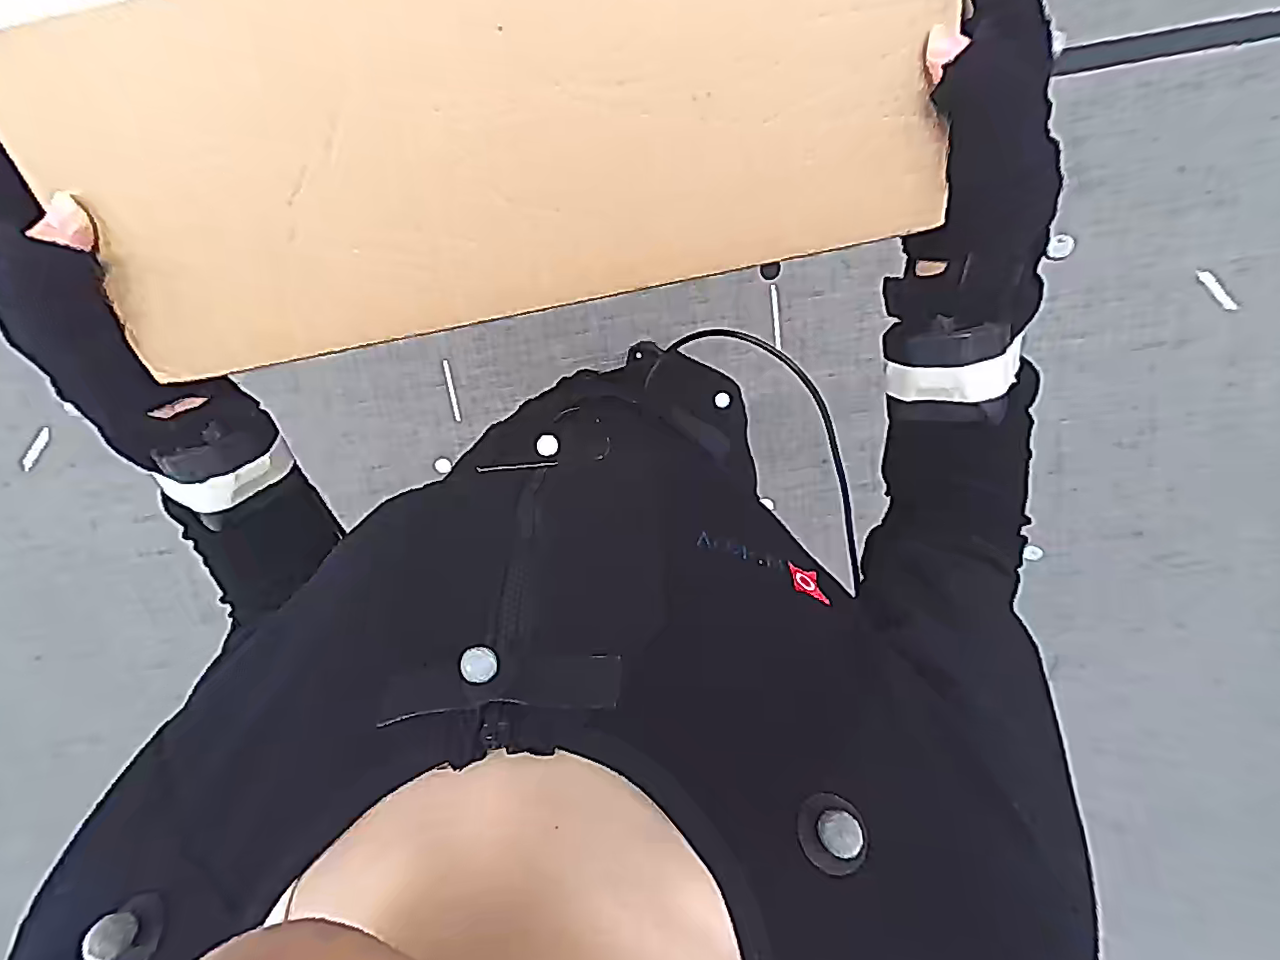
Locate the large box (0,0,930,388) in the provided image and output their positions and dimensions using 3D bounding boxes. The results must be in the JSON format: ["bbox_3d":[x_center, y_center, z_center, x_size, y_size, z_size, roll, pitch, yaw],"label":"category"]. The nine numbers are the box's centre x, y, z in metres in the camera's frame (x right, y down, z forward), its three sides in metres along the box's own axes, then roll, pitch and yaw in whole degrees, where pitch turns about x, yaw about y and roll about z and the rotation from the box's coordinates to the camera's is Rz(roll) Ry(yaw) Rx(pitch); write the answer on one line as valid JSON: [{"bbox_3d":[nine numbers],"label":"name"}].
[{"bbox_3d":[-0.085,-0.289,0.346,0.408,0.320,0.320,-11,116,3],"label":"large box"}]
